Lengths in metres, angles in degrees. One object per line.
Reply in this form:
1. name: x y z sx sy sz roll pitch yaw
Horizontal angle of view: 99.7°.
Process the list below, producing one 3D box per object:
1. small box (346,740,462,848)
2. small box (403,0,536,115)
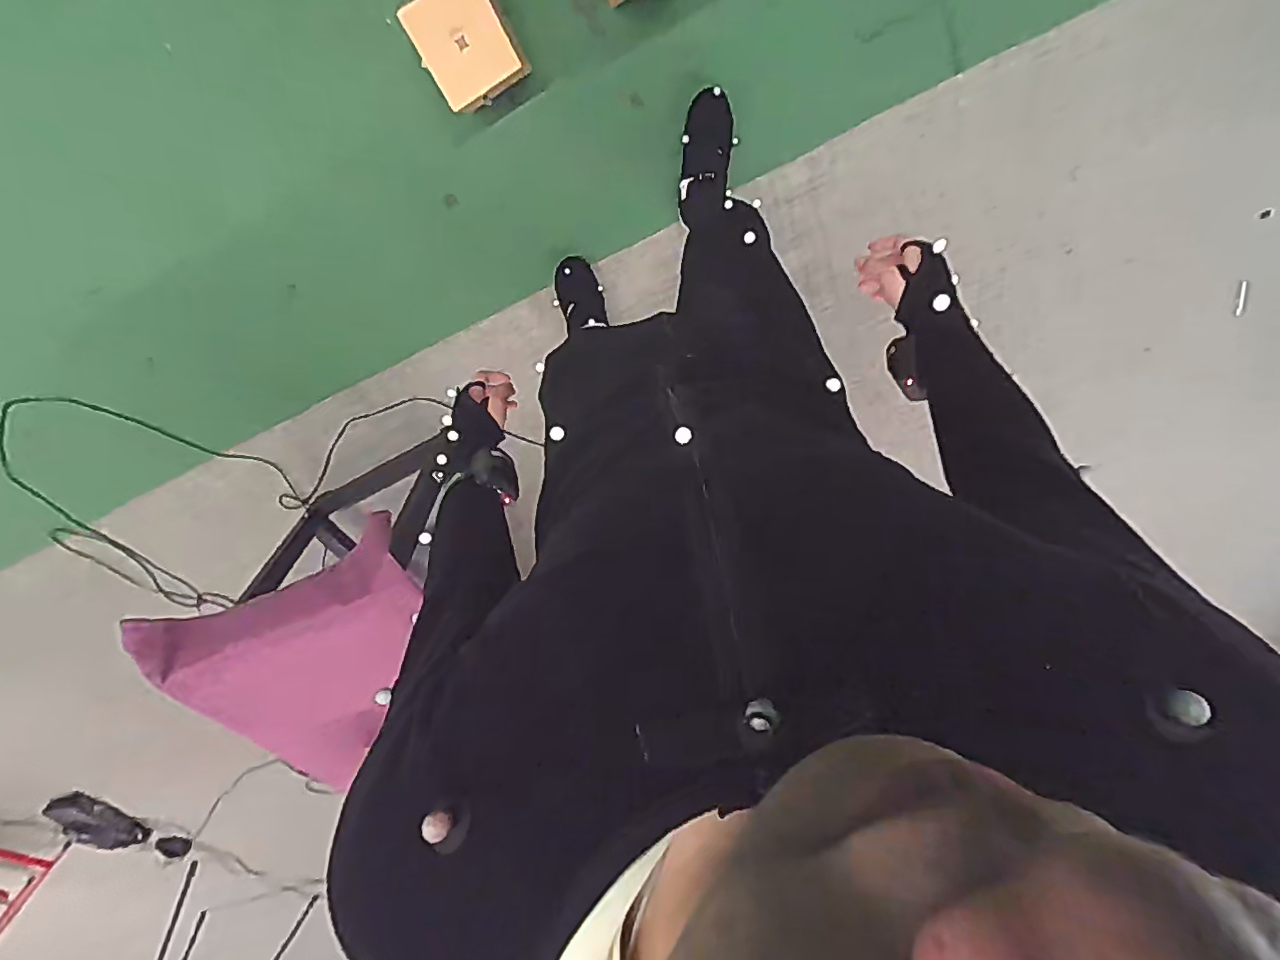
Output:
1. small box: -0.564 0.758 1.319 0.168 0.176 0.179 -19 124 11
2. small box: -0.328 -0.869 1.085 0.168 0.176 0.179 -24 121 14
